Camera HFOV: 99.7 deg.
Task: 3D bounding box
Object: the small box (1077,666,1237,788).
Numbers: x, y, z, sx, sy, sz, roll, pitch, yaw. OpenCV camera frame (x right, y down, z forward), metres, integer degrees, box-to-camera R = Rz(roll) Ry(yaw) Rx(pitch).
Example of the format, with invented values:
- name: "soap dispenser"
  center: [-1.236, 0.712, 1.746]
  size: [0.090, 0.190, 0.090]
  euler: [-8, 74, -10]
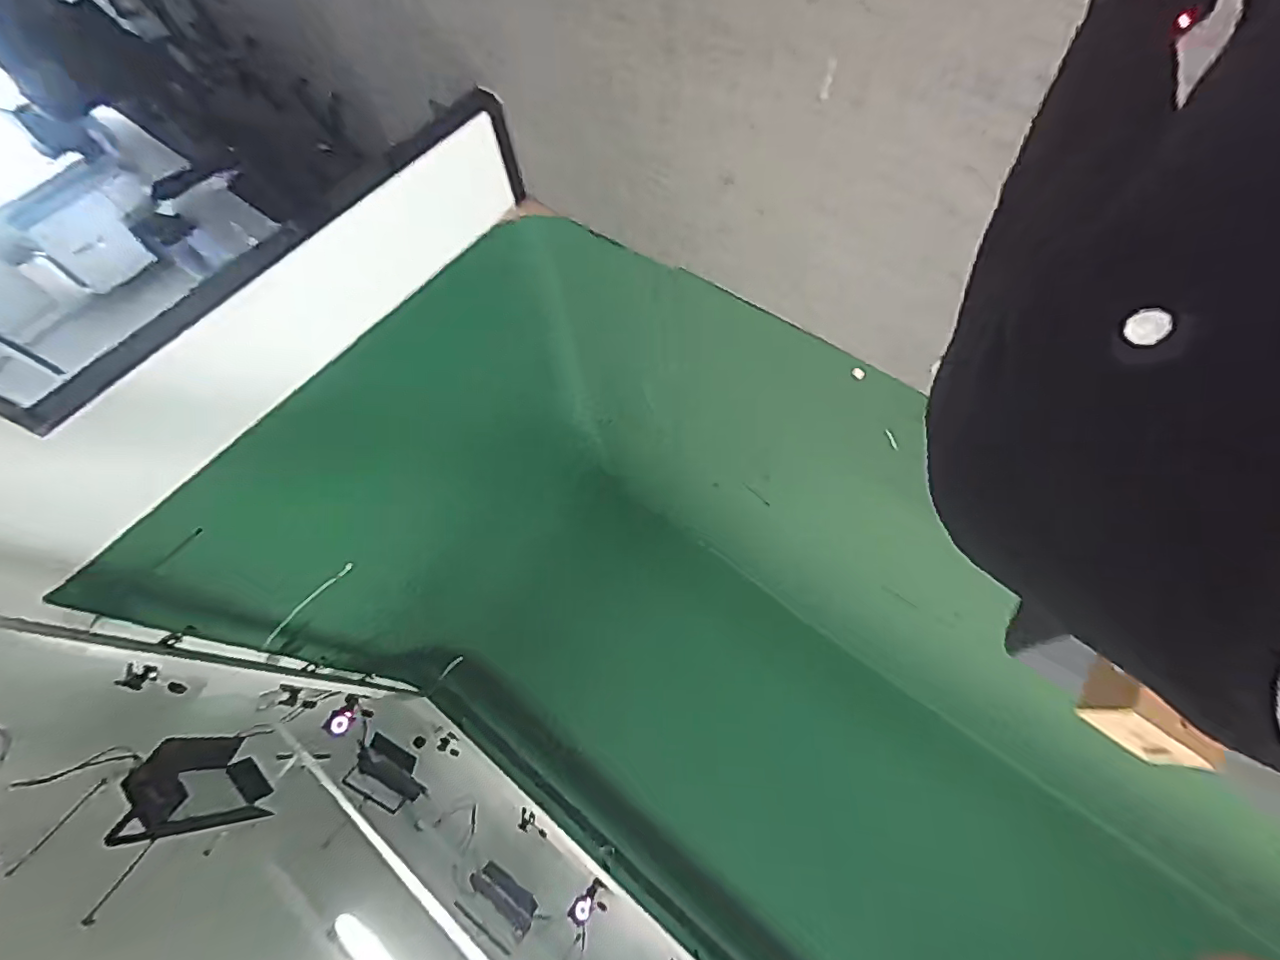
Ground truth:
- name: "small box"
  center: [1.142, 0.537, 1.196]
  size: [0.179, 0.176, 0.168]
  euler: [37, 161, 13]
